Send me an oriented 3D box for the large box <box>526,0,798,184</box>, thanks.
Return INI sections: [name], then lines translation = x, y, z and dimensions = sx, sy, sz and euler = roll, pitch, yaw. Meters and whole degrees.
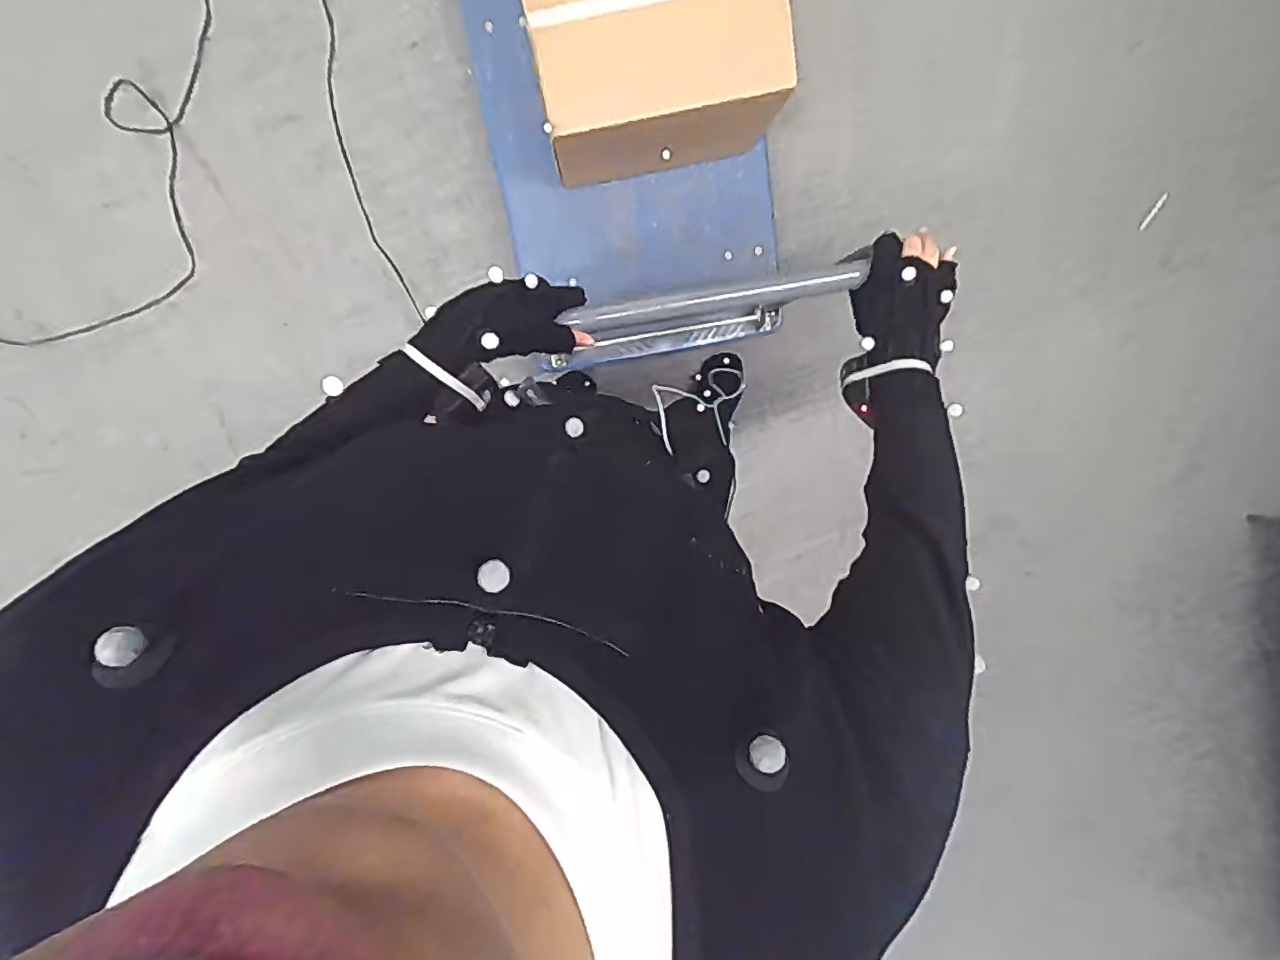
[large box]
translation = 0.023, -0.776, 0.975
dimensions = 0.408, 0.320, 0.320
euler = -12, 104, -1
